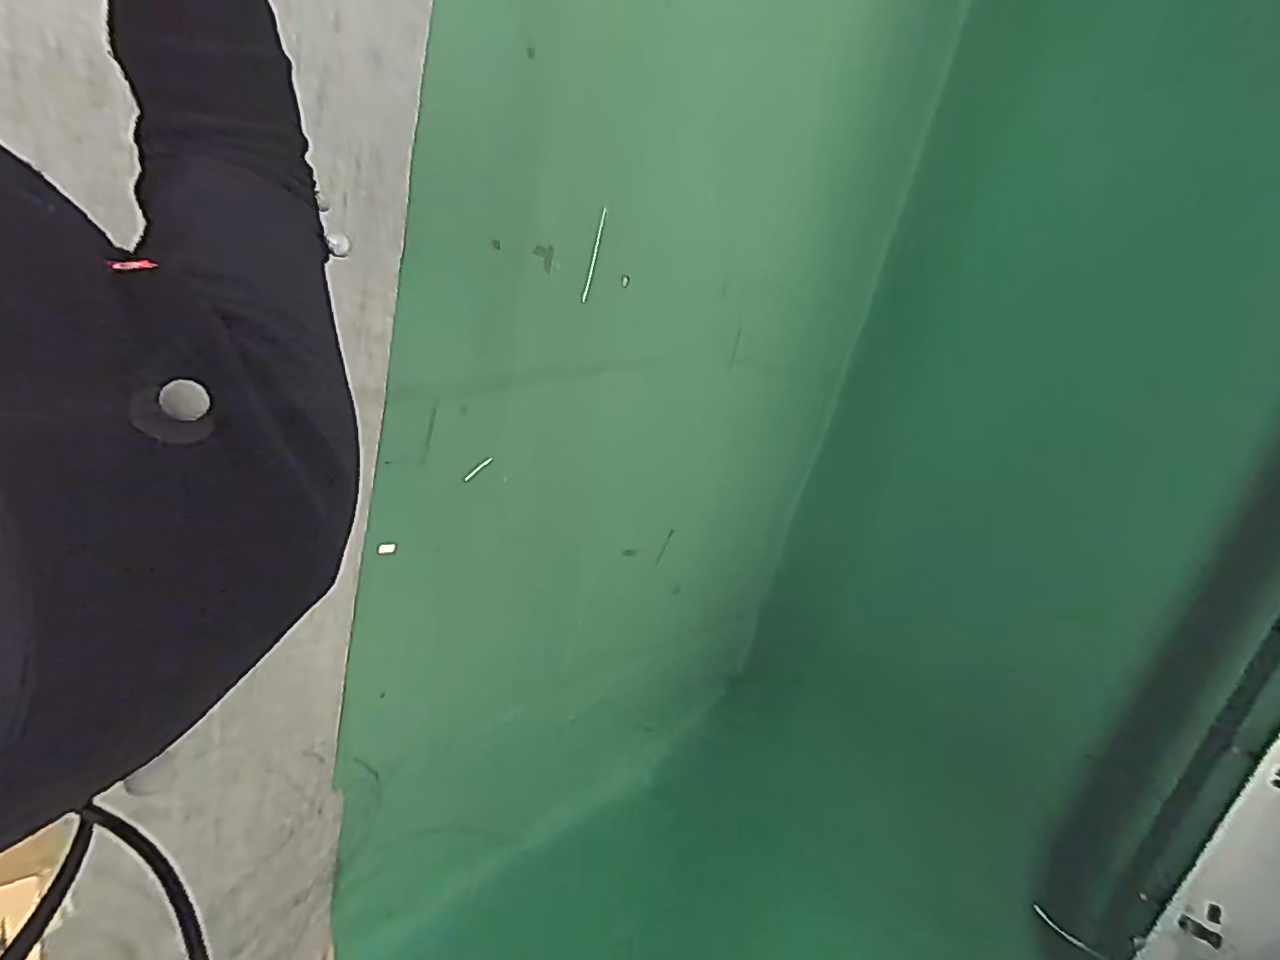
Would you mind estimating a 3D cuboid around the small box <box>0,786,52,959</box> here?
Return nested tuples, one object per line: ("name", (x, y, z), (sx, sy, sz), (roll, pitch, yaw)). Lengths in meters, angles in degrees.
("small box", (-0.780, 0.482, 0.591), (0.179, 0.176, 0.168), (-2, 108, -50))
